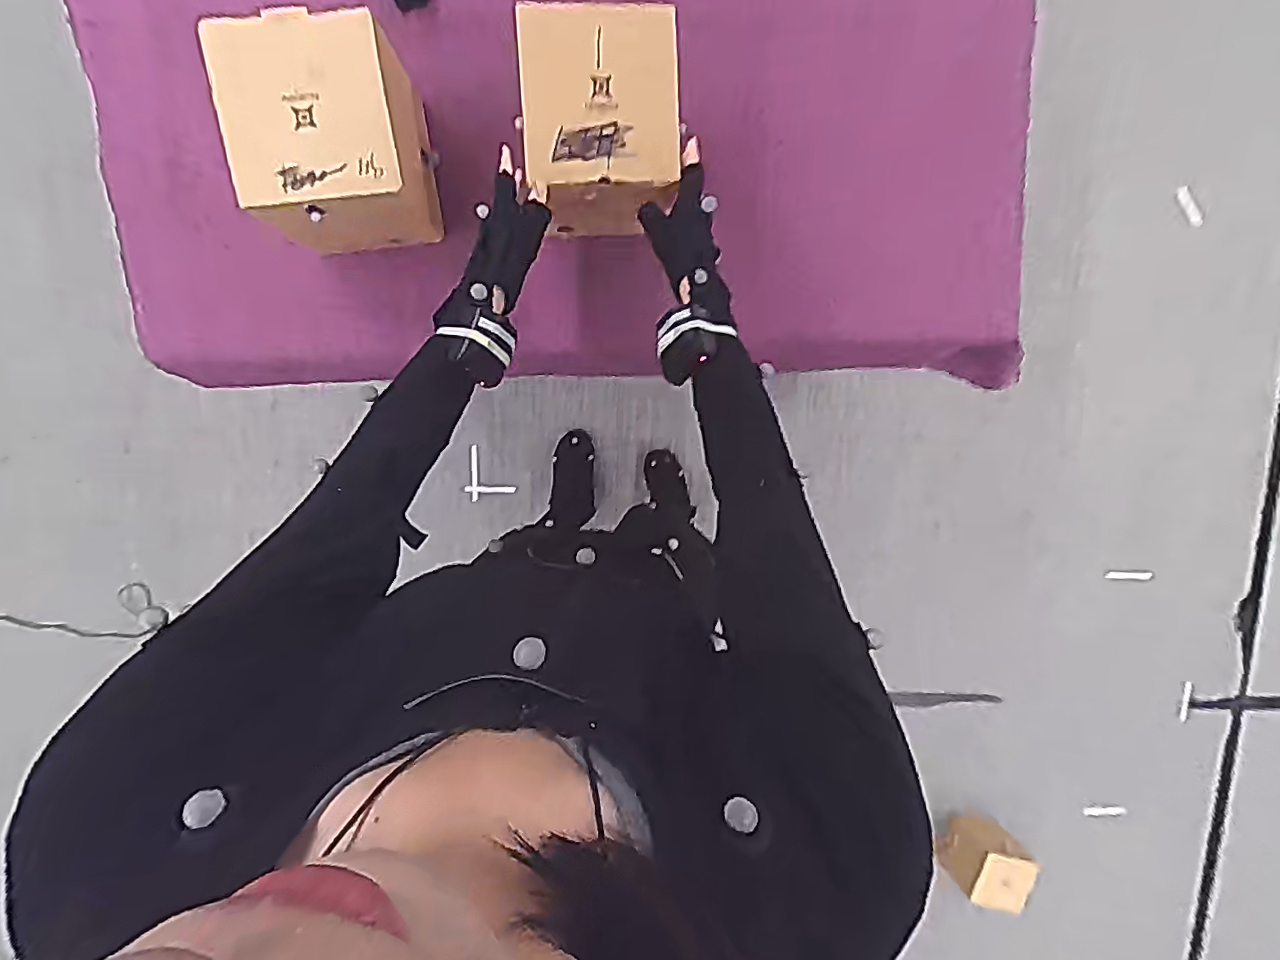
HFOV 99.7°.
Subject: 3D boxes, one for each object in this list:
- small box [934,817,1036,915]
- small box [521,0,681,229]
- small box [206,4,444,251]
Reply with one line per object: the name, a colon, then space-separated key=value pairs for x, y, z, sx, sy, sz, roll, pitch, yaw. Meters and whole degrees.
small box: x=1.057 y=1.182 z=1.669 sx=0.179 sy=0.176 sz=0.168 roll=17 pitch=94 yaw=-6
small box: x=-0.044 y=-0.411 z=0.639 sx=0.168 sy=0.176 sz=0.179 roll=-3 pitch=96 yaw=-5
small box: x=-0.337 y=-0.383 z=0.616 sx=0.168 sy=0.176 sz=0.179 roll=-7 pitch=96 yaw=-3
